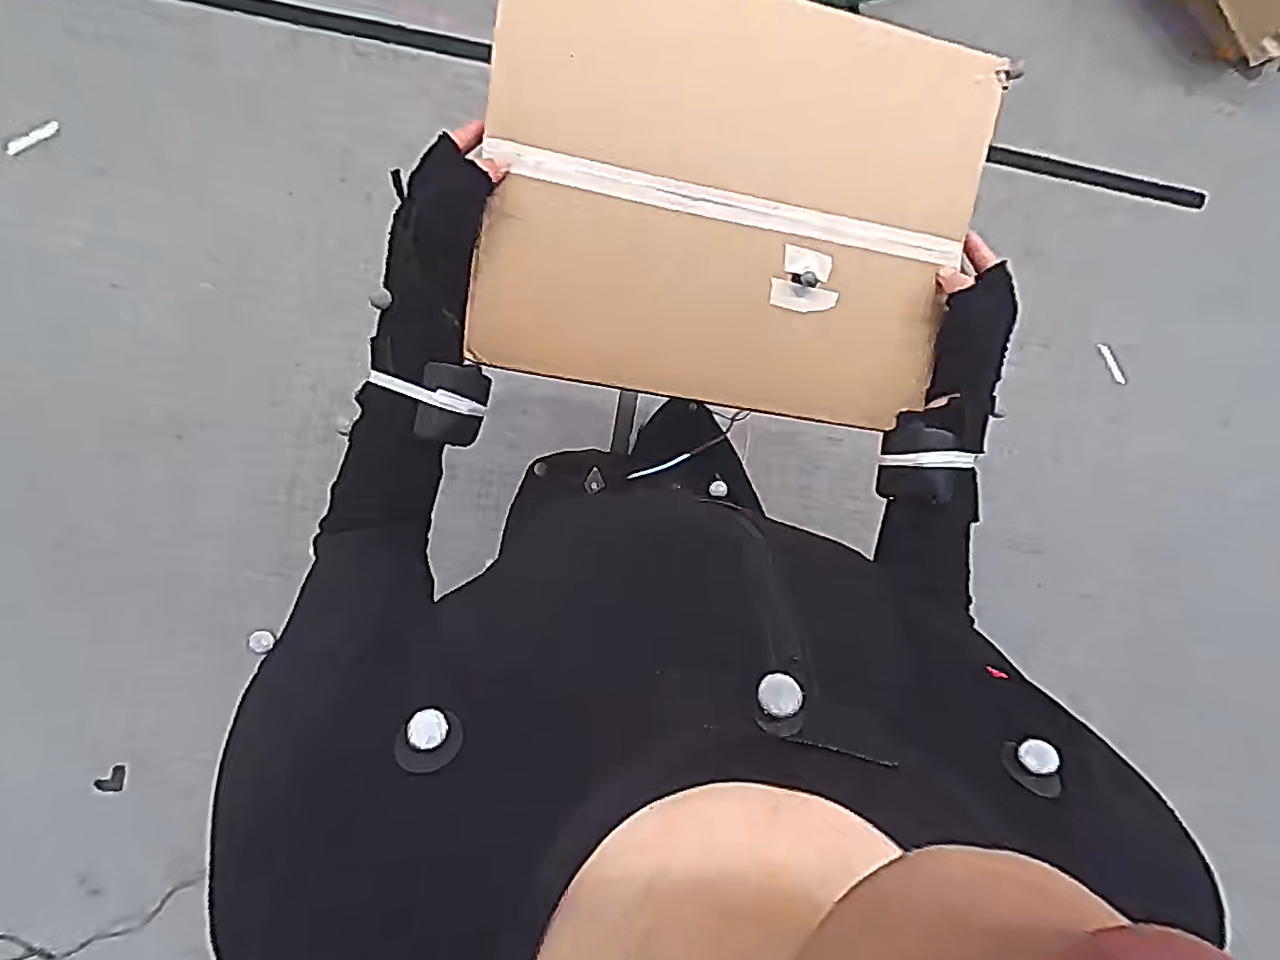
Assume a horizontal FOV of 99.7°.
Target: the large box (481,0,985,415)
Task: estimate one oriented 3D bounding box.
[{"bbox_3d":[0.059,-0.262,0.600,0.408,0.320,0.320,8,101,-10],"label":"large box"}]
